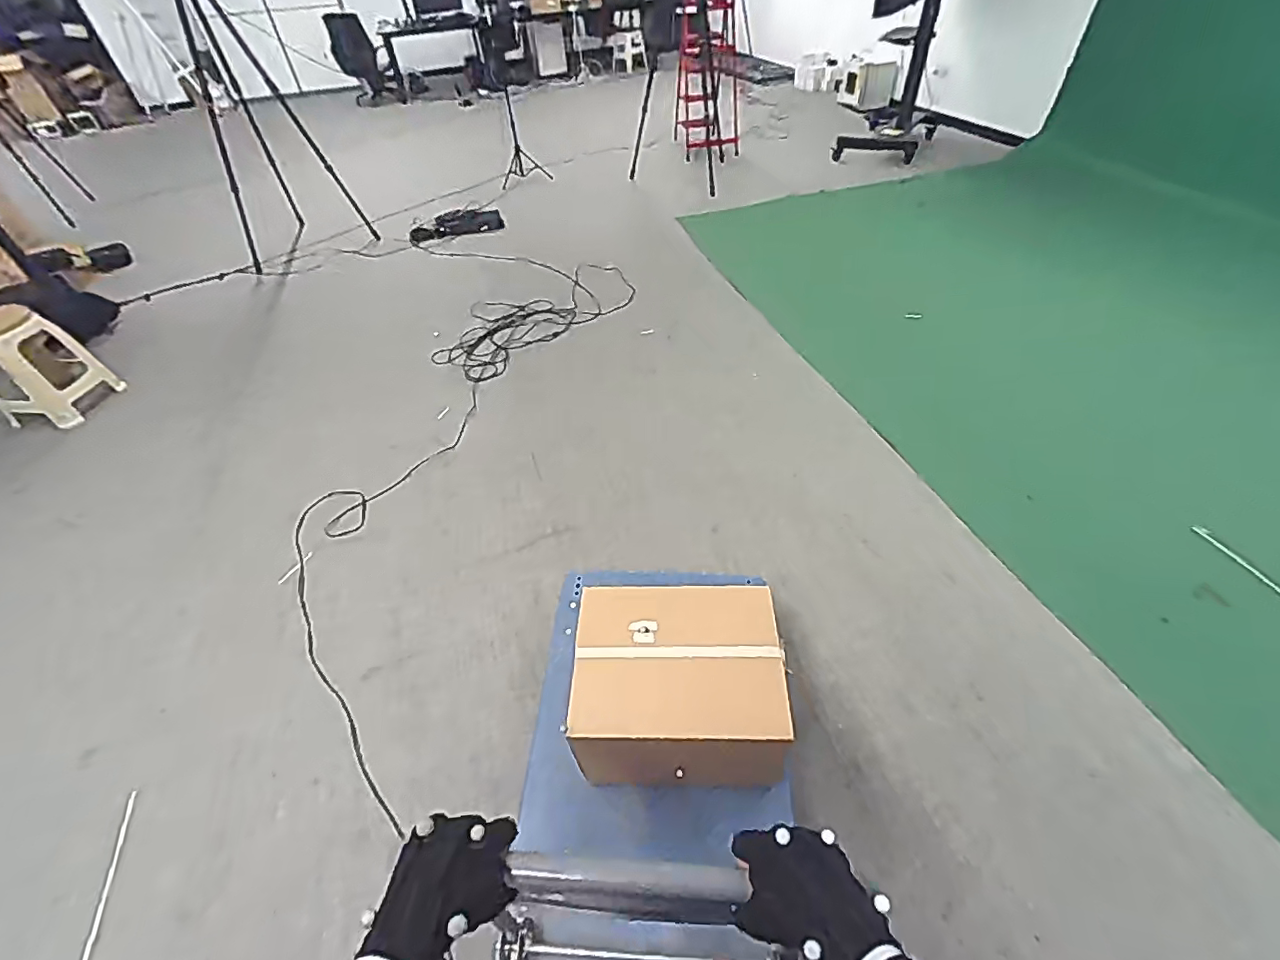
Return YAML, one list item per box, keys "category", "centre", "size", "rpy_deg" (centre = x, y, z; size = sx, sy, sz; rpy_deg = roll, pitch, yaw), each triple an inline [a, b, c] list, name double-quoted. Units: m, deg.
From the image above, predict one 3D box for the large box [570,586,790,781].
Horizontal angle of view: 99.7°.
- category: "large box"
  centre: [0.086, 0.448, 1.175]
  size: [0.408, 0.320, 0.320]
  rpy_deg: [-2, 46, 5]
